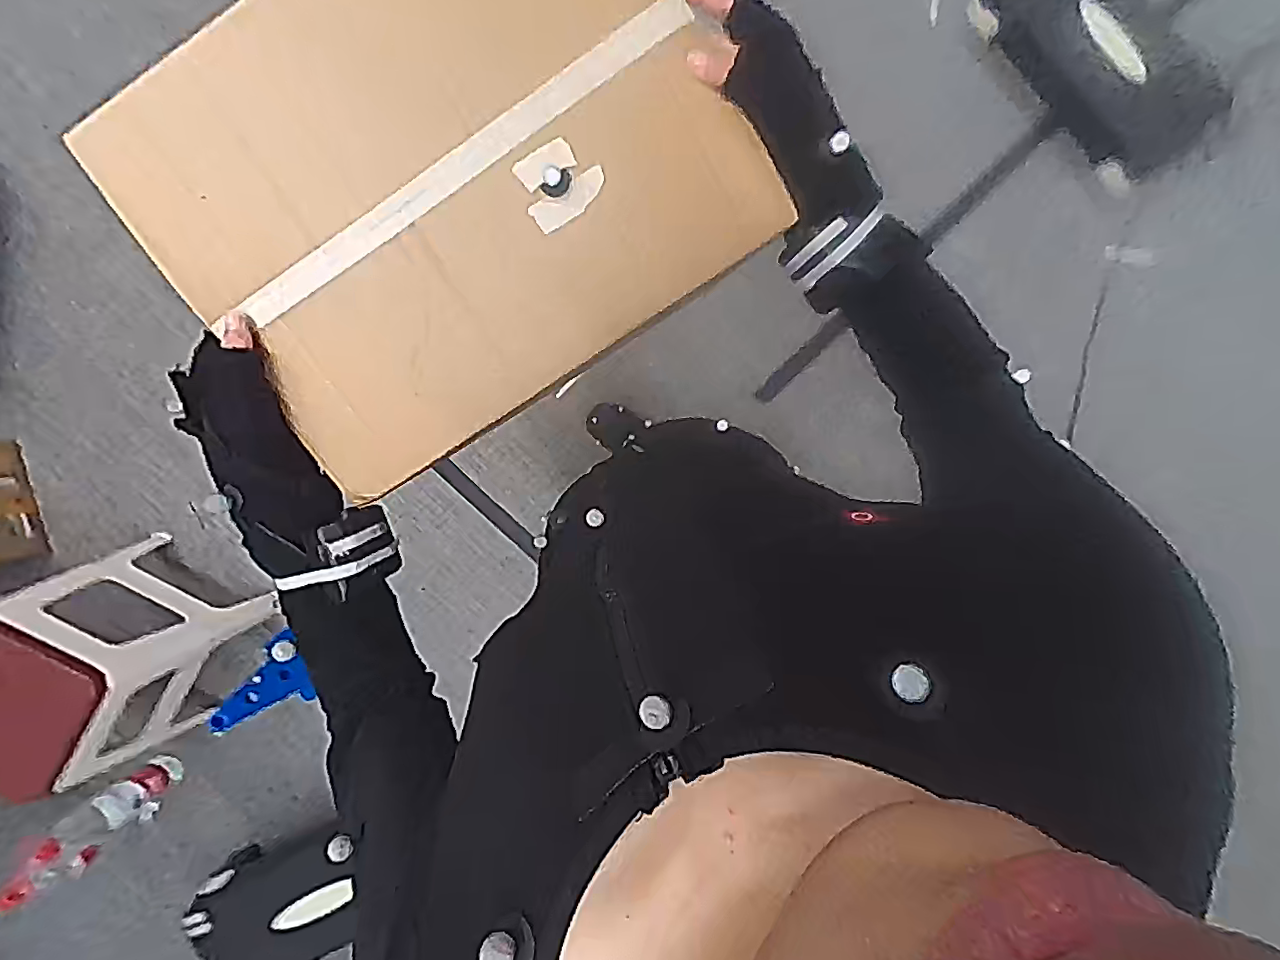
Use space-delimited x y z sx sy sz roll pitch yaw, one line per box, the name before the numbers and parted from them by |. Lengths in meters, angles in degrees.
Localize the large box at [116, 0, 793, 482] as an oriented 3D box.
large box | -0.134 -0.252 0.538 0.408 0.320 0.320 -32 101 5
